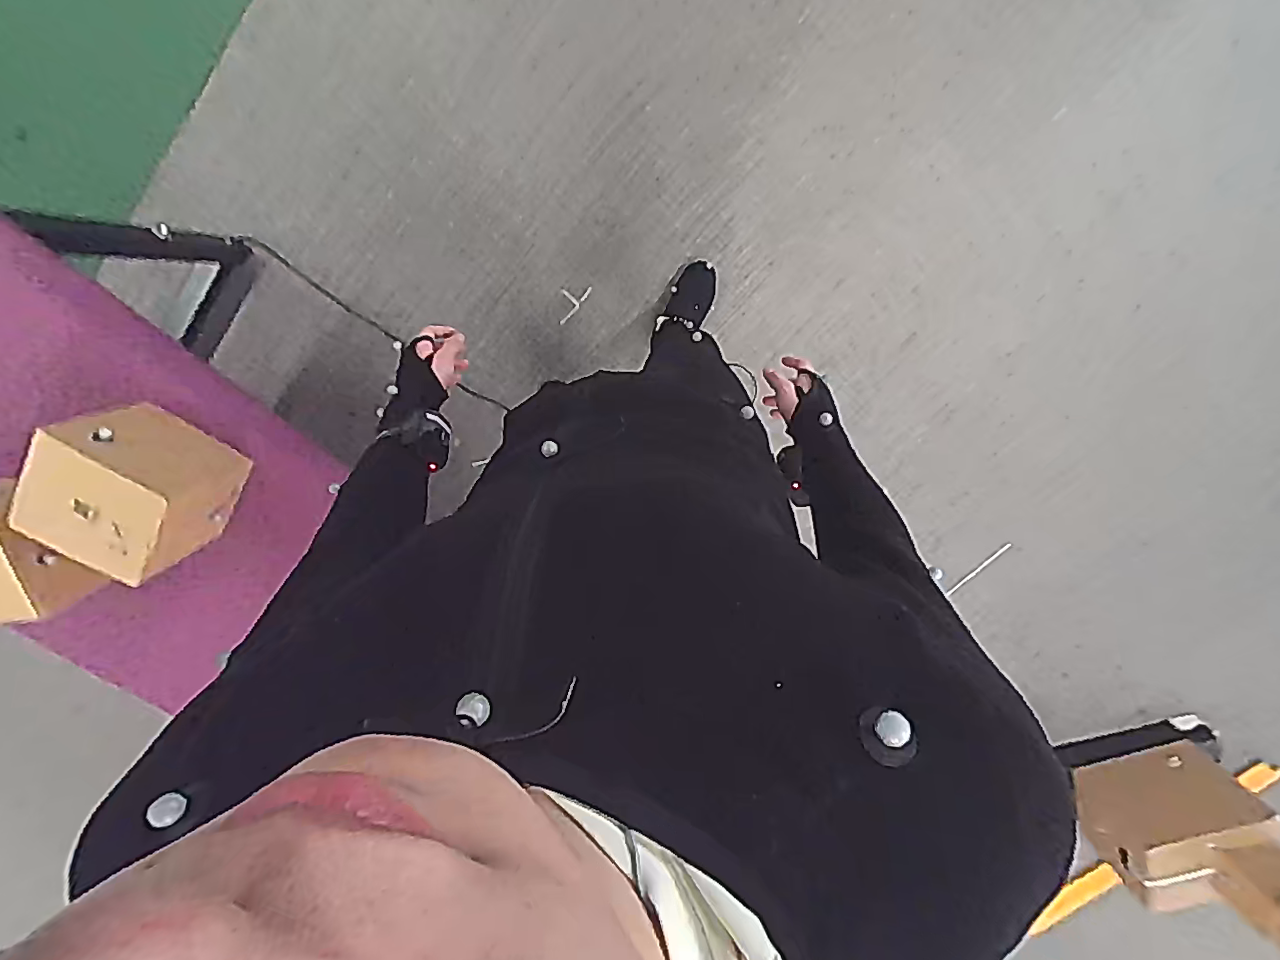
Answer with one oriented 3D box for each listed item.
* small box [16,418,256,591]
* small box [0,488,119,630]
[{"bbox_3d":[-0.733,0.025,0.804,0.179,0.176,0.168,33,108,-11],"label":"small box"},{"bbox_3d":[-0.948,0.112,0.838,0.168,0.176,0.179,-6,110,1],"label":"small box"}]
